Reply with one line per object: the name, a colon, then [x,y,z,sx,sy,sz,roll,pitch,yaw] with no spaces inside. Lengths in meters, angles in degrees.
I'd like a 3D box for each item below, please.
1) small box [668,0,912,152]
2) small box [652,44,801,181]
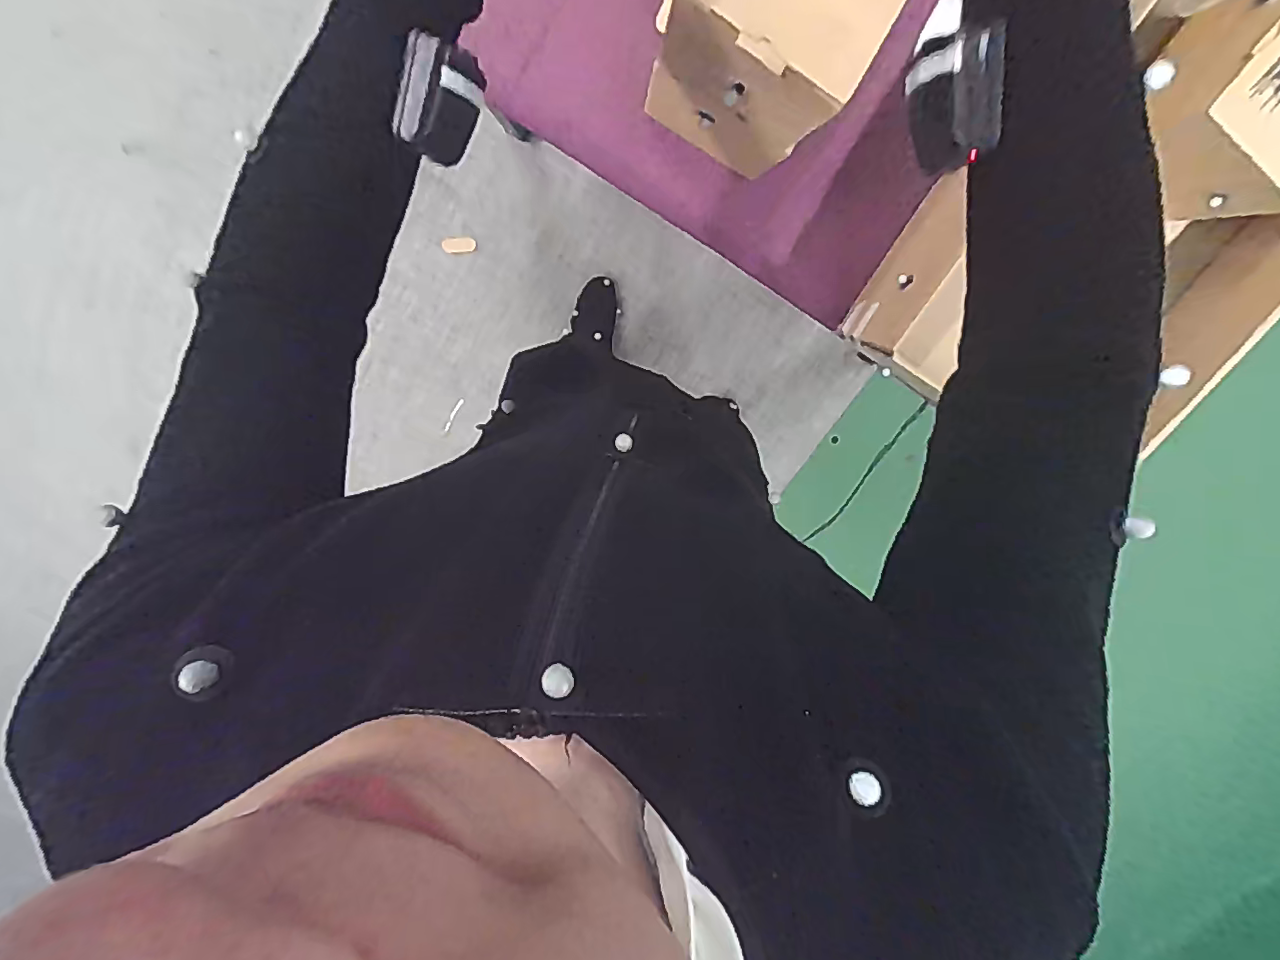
small box: [0.137,-0.437,0.493,0.168,0.176,0.179,26,107,-13]
small box: [0.127,-0.489,0.648,0.179,0.176,0.168,25,107,-12]
